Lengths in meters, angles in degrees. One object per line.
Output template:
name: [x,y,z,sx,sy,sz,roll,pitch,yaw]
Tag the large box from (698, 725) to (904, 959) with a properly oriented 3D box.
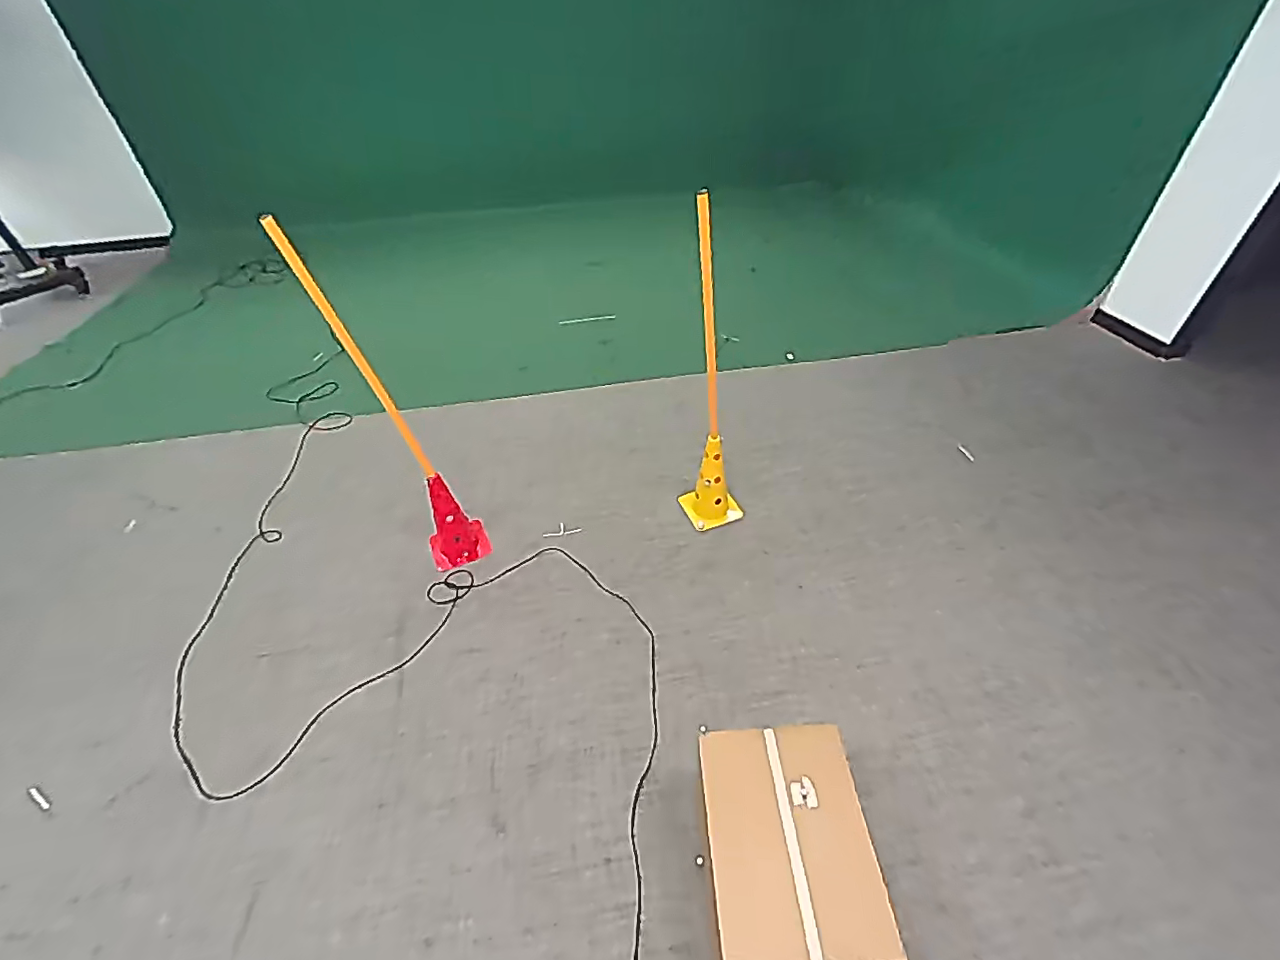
large box: [0.299,0.801,1.159,0.320,0.320,0.408,-3,41,0]
